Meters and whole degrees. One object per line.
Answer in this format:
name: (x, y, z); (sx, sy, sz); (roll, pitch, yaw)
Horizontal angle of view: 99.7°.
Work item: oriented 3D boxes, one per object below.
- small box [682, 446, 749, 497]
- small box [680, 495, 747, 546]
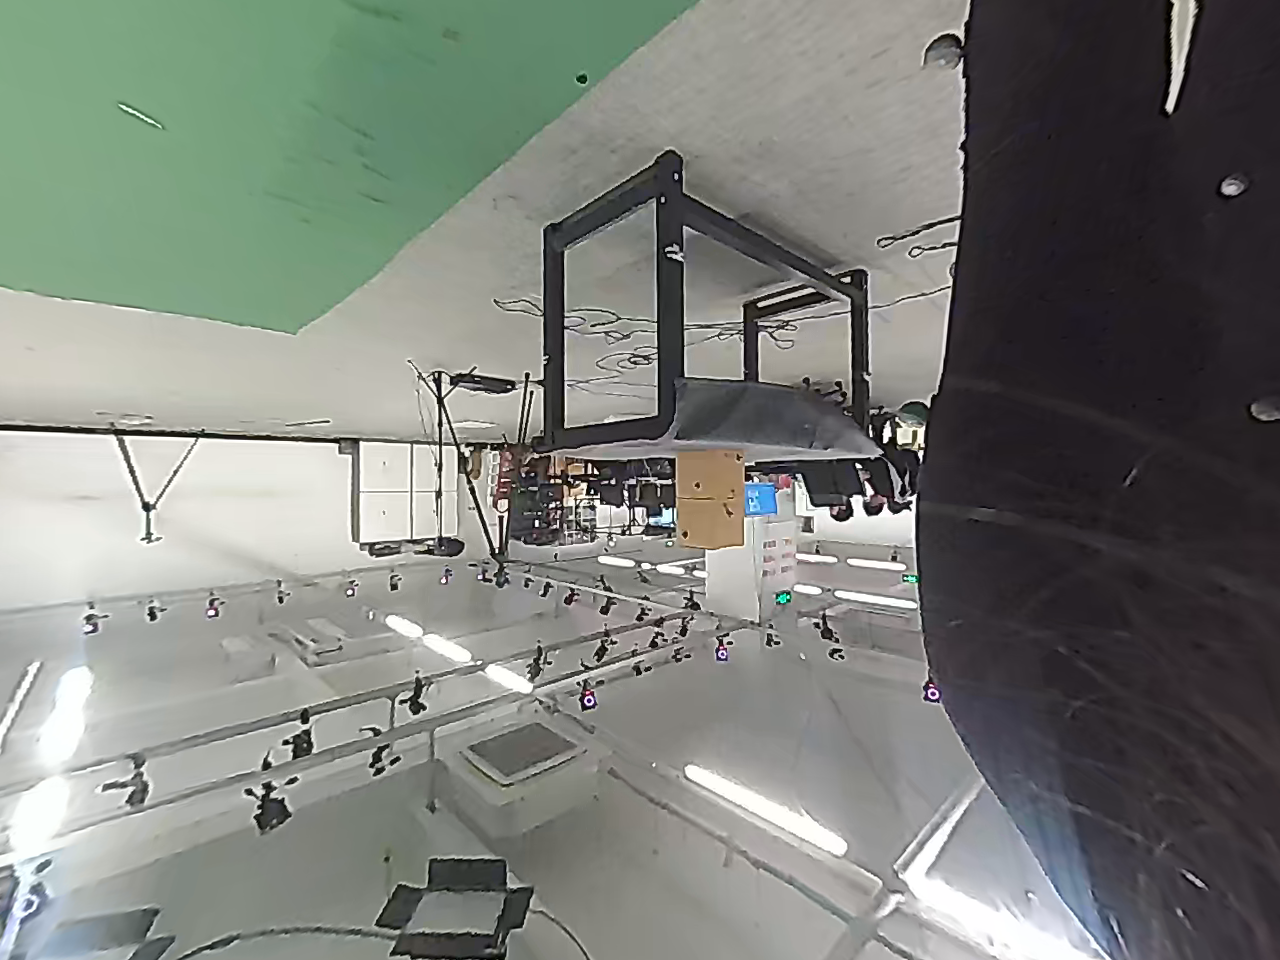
small box: (0.257, -0.031, 1.861); (0.168, 0.176, 0.179); (0, -179, -42)
small box: (0.258, 0.133, 1.881); (0.168, 0.176, 0.179); (-1, 180, -41)
